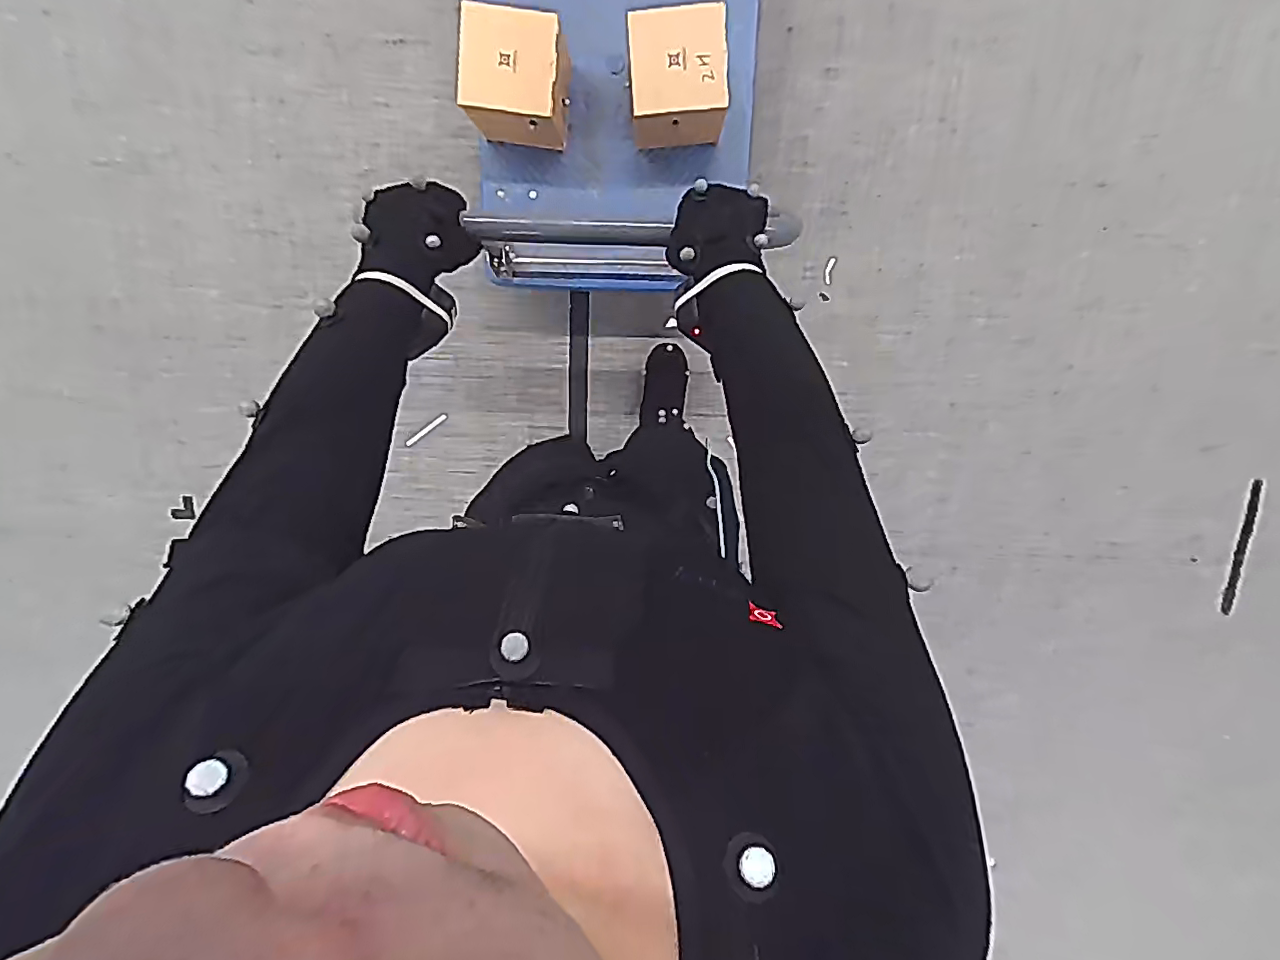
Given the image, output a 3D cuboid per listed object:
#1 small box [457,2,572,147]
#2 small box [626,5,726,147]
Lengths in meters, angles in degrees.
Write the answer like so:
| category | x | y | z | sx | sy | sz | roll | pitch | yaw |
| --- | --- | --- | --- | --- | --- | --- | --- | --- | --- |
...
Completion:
| category | x | y | z | sx | sy | sz | roll | pitch | yaw |
| --- | --- | --- | --- | --- | --- | --- | --- | --- | --- |
| small box | -0.237 | -0.774 | 1.051 | 0.179 | 0.176 | 0.168 | 7 | 103 | -2 |
| small box | 0.069 | -0.766 | 1.045 | 0.179 | 0.176 | 0.168 | -3 | 104 | 2 |
